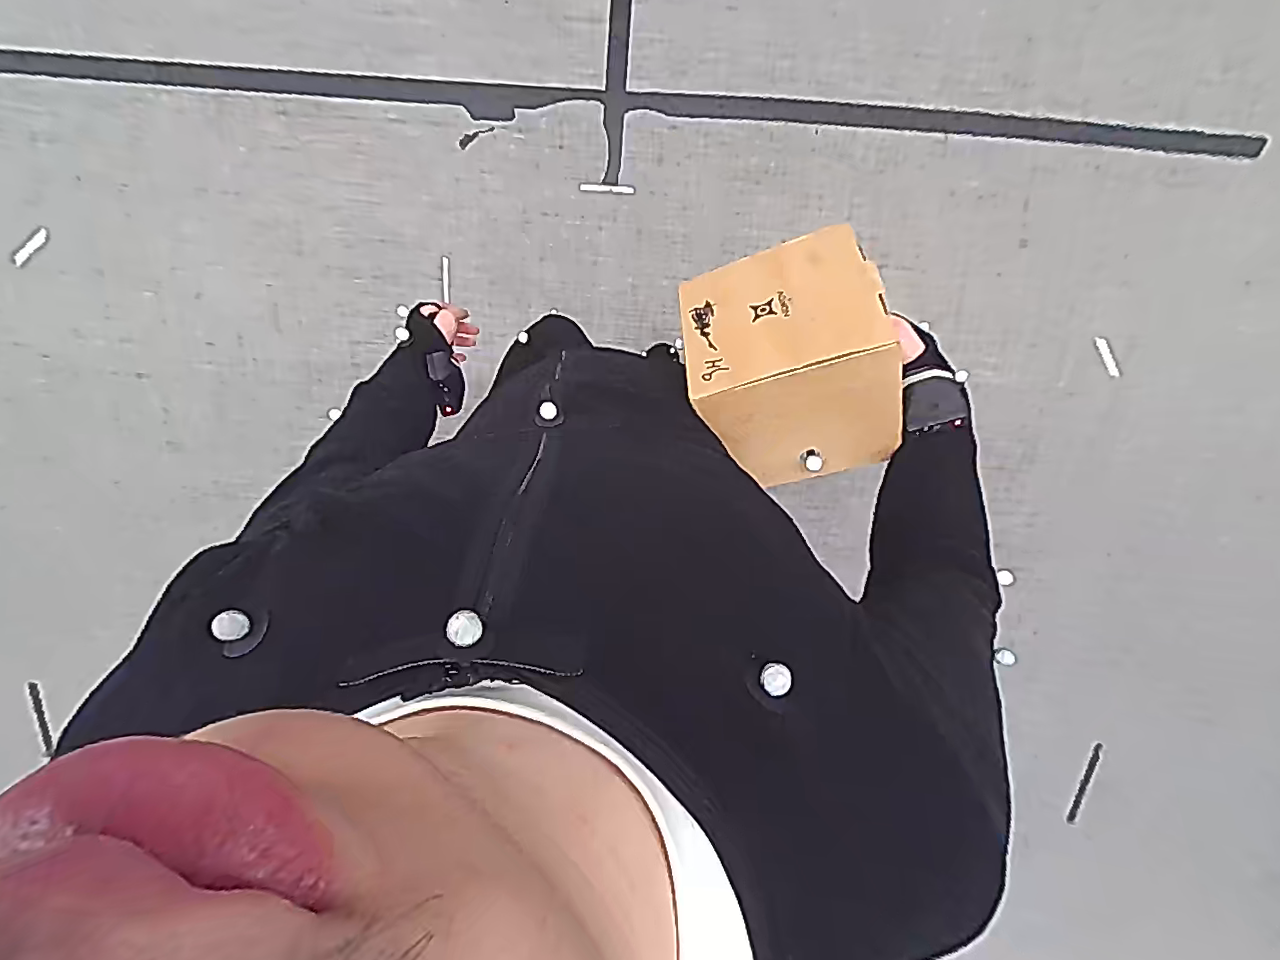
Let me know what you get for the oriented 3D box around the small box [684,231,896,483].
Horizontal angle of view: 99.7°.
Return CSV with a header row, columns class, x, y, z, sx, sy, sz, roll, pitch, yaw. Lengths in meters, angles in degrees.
class,x,y,z,sx,sy,sz,roll,pitch,yaw
small box,0.157,-0.119,0.575,0.179,0.168,0.176,-14,143,17
